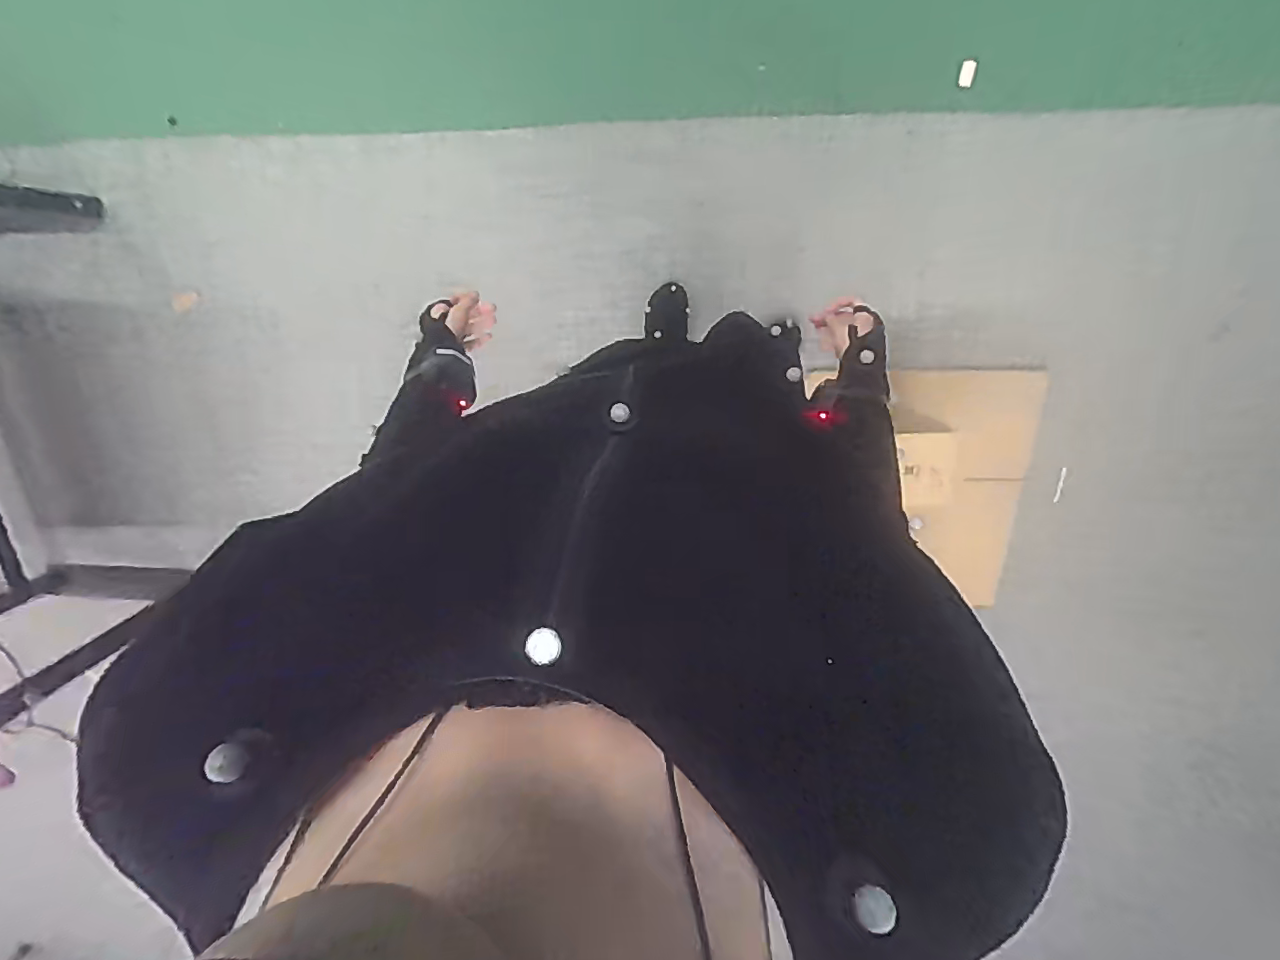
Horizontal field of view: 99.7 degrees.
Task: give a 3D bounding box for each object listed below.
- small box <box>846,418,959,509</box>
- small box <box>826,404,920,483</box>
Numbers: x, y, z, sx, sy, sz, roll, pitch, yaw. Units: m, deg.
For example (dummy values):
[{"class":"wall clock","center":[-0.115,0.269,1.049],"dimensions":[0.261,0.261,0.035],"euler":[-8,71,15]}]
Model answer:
[{"class":"small box","center":[0.579,-0.042,1.220],"dimensions":[0.179,0.176,0.168],"euler":[-1,110,4]},{"class":"small box","center":[0.584,-0.096,1.376],"dimensions":[0.179,0.176,0.168],"euler":[-1,110,4]}]
